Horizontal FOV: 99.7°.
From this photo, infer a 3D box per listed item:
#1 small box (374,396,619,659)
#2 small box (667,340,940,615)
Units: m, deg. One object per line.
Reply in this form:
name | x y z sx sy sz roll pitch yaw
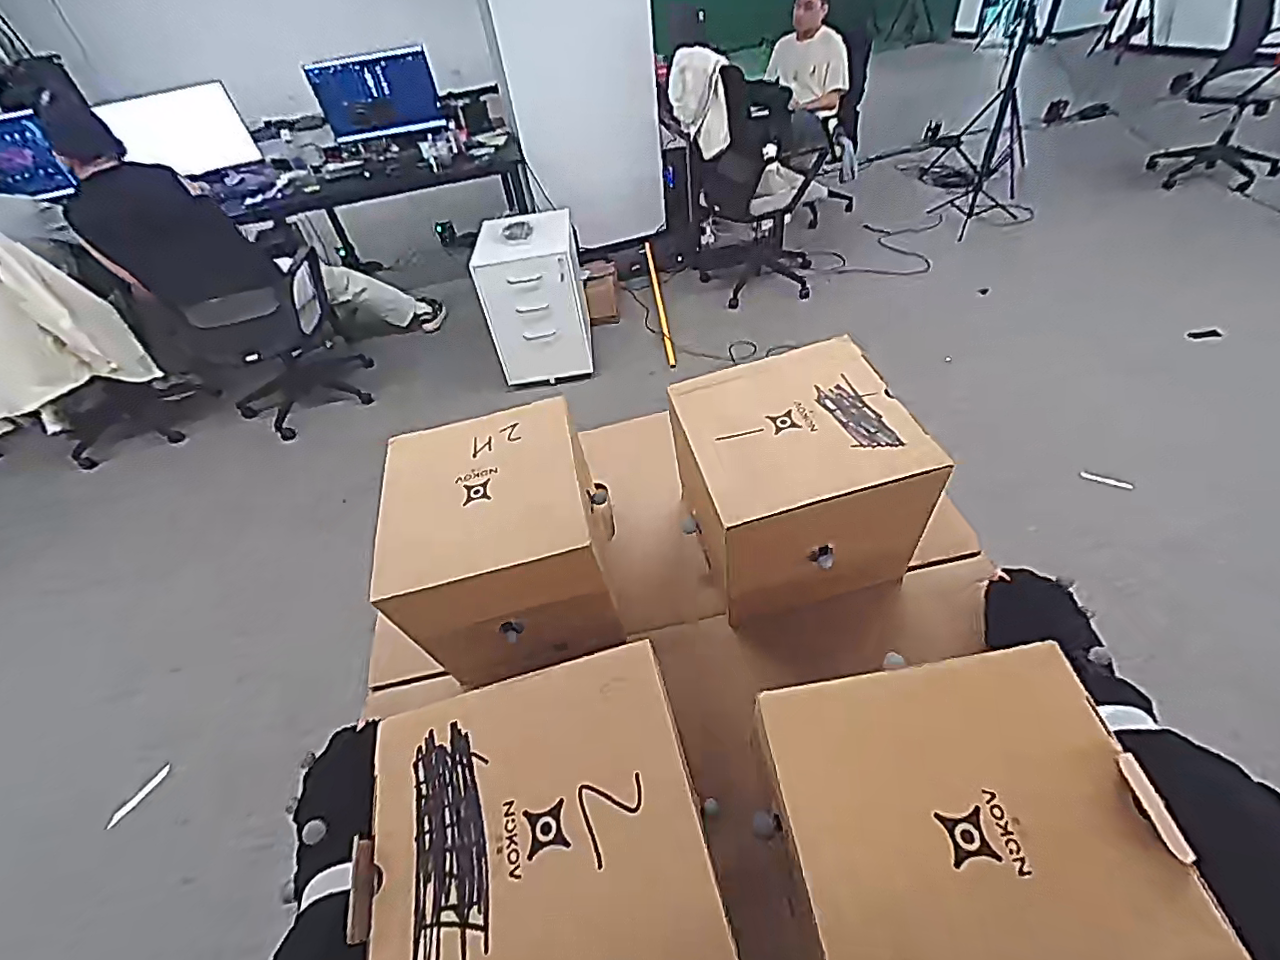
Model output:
small box | -0.122 0.053 0.515 0.168 0.176 0.179 -13 49 -1
small box | 0.134 0.002 0.507 0.179 0.176 0.168 -15 50 -1
